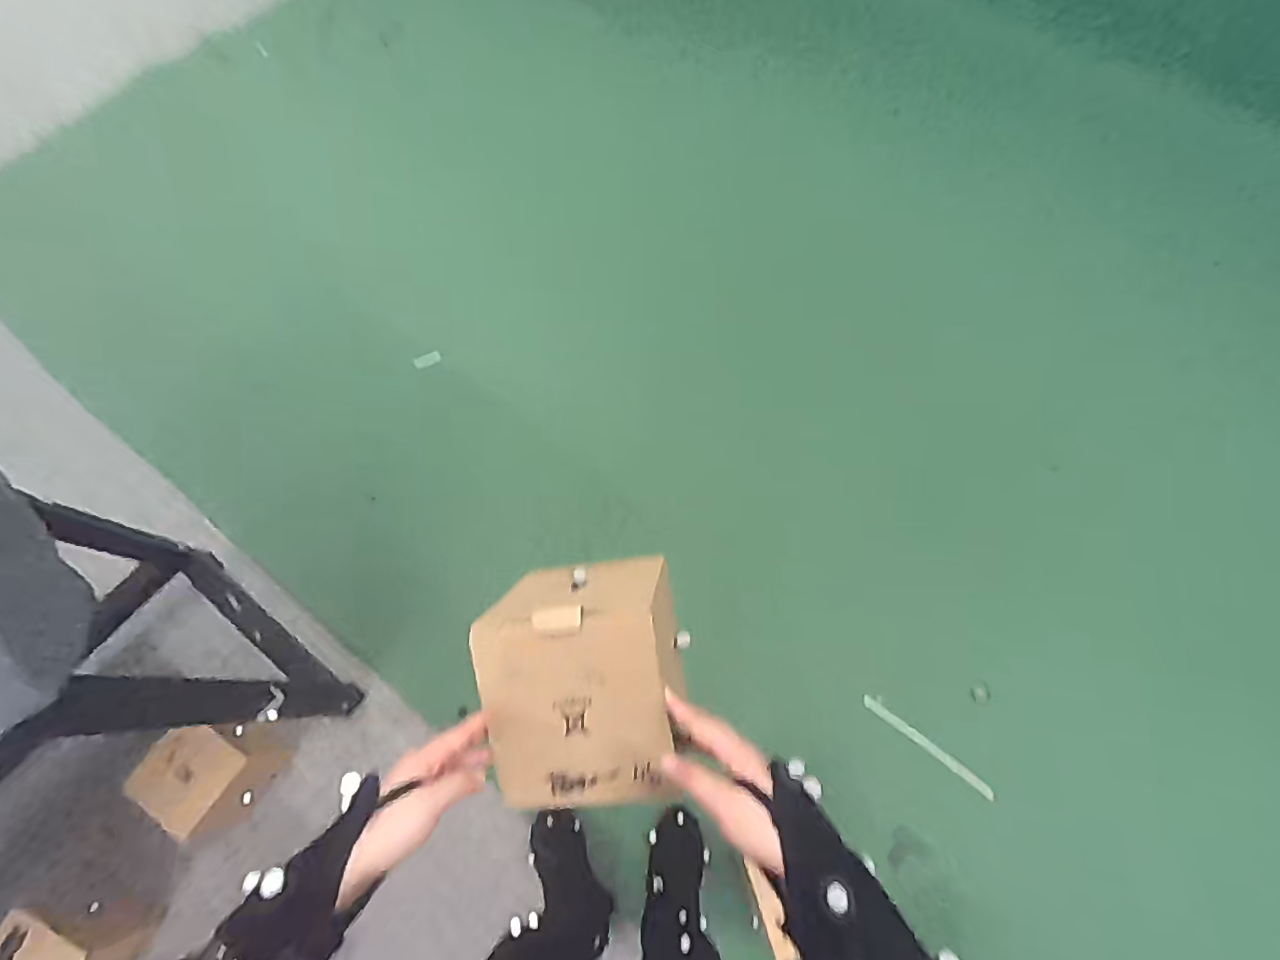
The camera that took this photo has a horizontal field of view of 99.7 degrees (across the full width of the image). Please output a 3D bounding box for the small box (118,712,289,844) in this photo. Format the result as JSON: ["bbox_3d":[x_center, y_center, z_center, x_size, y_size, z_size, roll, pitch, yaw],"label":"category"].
[{"bbox_3d":[-0.877,0.593,1.108,0.179,0.176,0.168,31,71,11],"label":"small box"}]

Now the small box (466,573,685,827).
[{"bbox_3d":[-0.048,0.198,0.533,0.168,0.176,0.179,-8,96,7],"label":"small box"}]

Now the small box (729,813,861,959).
[{"bbox_3d":[0.285,0.773,1.036,0.168,0.176,0.179,-17,69,-7],"label":"small box"}]
